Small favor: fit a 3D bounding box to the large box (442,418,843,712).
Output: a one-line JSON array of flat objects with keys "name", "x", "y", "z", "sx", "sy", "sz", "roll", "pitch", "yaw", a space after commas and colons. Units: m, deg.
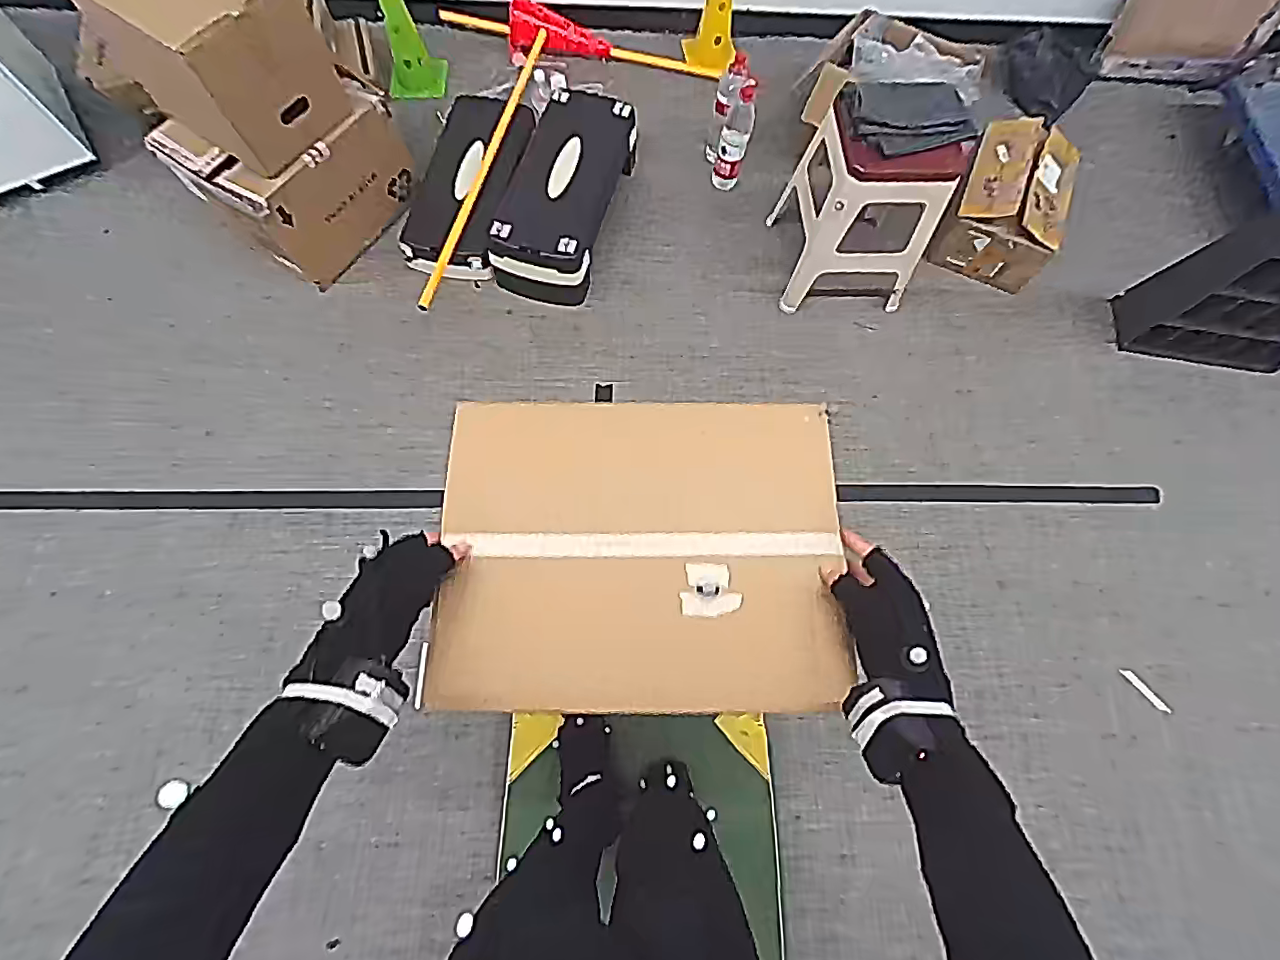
[{"name": "large box", "x": -0.002, "y": 0.122, "z": 0.714, "sx": 0.408, "sy": 0.320, "sz": 0.320, "roll": 0, "pitch": 73, "yaw": -1}]
